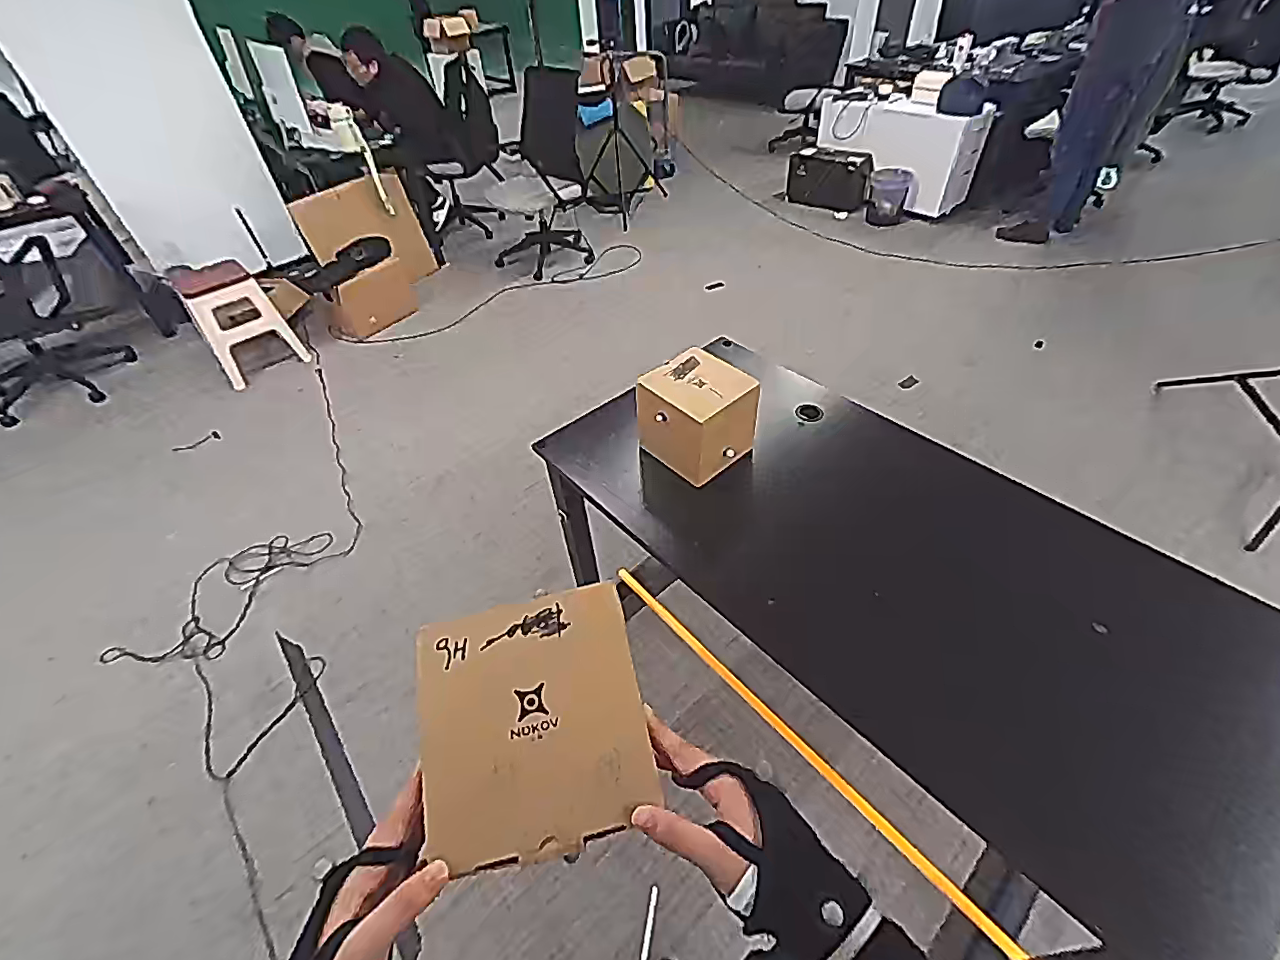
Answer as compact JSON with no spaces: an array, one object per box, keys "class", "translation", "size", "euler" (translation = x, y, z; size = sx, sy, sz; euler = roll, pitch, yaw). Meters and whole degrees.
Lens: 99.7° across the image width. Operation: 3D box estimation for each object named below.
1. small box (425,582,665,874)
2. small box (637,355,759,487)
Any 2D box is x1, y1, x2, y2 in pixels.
[{"class":"small box","translation":[-0.076,0.214,0.485],"size":[0.168,0.176,0.179],"euler":[-13,63,-5]},{"class":"small box","translation":[0.111,-0.117,1.083],"size":[0.168,0.176,0.179],"euler":[-34,53,-26]}]
